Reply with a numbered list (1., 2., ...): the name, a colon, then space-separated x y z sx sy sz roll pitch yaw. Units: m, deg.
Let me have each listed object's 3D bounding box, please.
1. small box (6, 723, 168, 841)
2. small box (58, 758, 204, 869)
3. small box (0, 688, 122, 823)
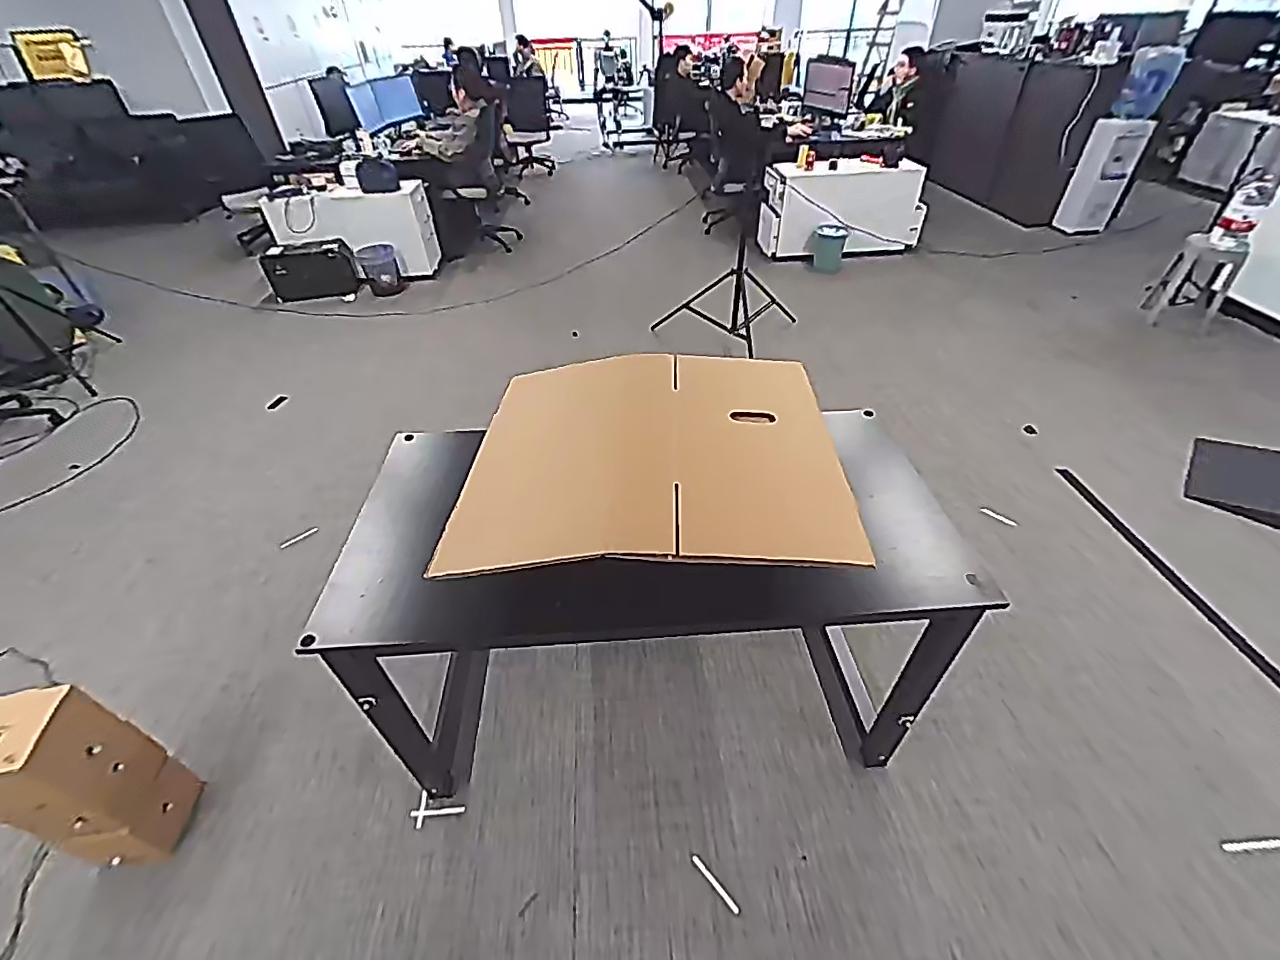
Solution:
1. small box: -1.223 0.683 1.214 0.168 0.176 0.179 -7 39 -7
2. small box: -1.216 0.810 1.314 0.168 0.176 0.179 -6 41 -4
3. small box: -1.227 0.561 1.104 0.168 0.176 0.179 -9 40 -9
